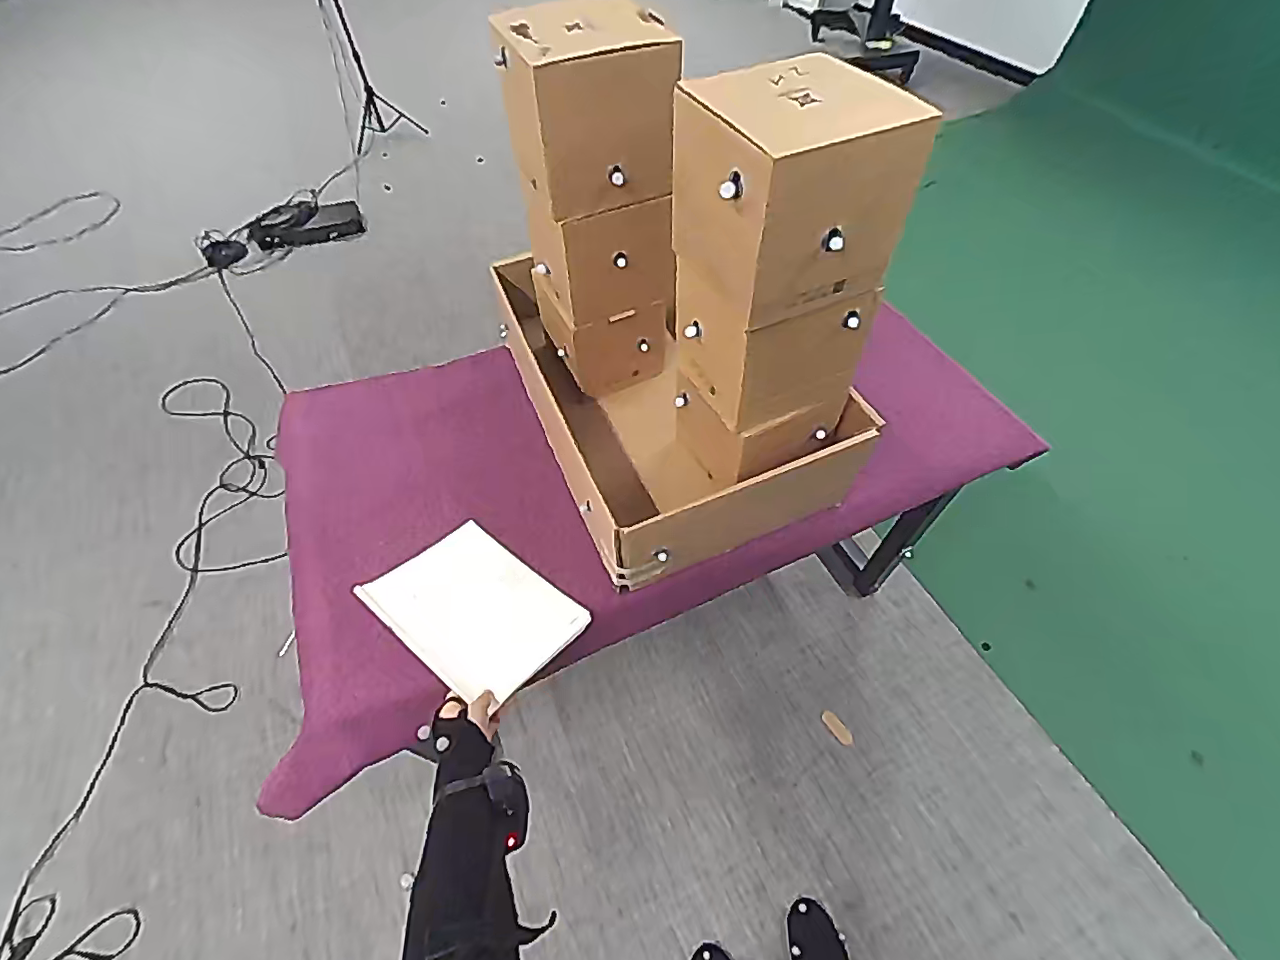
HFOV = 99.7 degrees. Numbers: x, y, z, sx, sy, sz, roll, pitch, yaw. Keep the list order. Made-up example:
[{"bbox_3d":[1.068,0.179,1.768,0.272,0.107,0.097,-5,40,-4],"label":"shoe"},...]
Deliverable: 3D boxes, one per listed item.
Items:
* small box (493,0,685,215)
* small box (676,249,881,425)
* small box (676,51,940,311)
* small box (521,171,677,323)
[{"bbox_3d":[-0.063,-0.463,0.673,0.179,0.176,0.168,-20,58,-14],"label":"small box"},{"bbox_3d":[0.157,-0.195,0.676,0.179,0.176,0.168,-20,55,-13],"label":"small box"},{"bbox_3d":[0.146,-0.290,0.541,0.168,0.176,0.179,-20,55,-13],"label":"small box"},{"bbox_3d":[-0.058,-0.367,0.807,0.179,0.176,0.168,-23,58,-14],"label":"small box"}]
